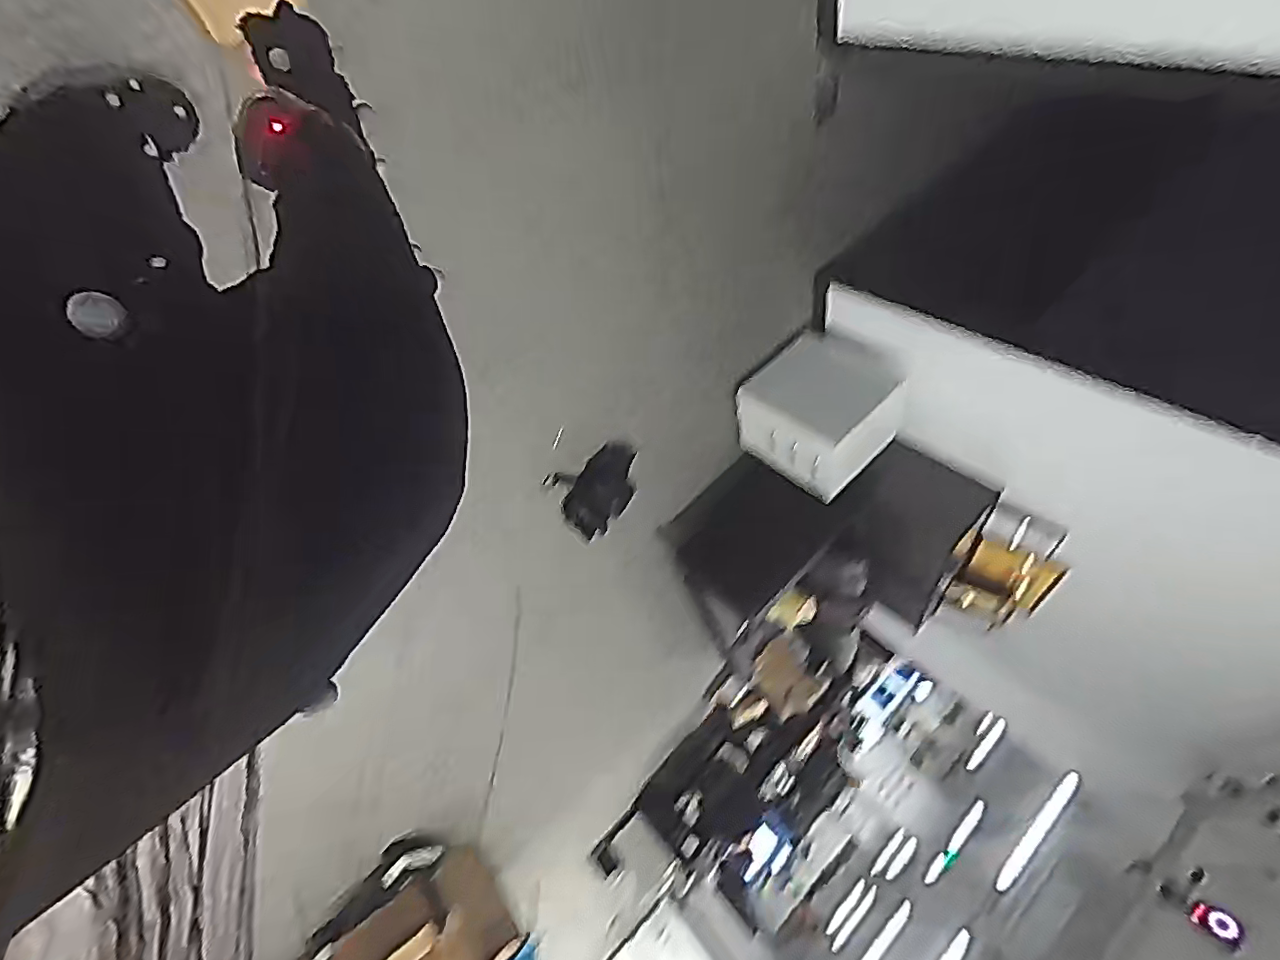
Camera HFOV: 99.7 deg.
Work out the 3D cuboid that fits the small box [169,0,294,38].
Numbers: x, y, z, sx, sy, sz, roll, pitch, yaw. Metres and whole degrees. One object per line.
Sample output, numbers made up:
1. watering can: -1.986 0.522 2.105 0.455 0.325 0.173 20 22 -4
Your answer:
1. small box: -0.679 -0.829 0.835 0.168 0.176 0.179 -42 146 -14
